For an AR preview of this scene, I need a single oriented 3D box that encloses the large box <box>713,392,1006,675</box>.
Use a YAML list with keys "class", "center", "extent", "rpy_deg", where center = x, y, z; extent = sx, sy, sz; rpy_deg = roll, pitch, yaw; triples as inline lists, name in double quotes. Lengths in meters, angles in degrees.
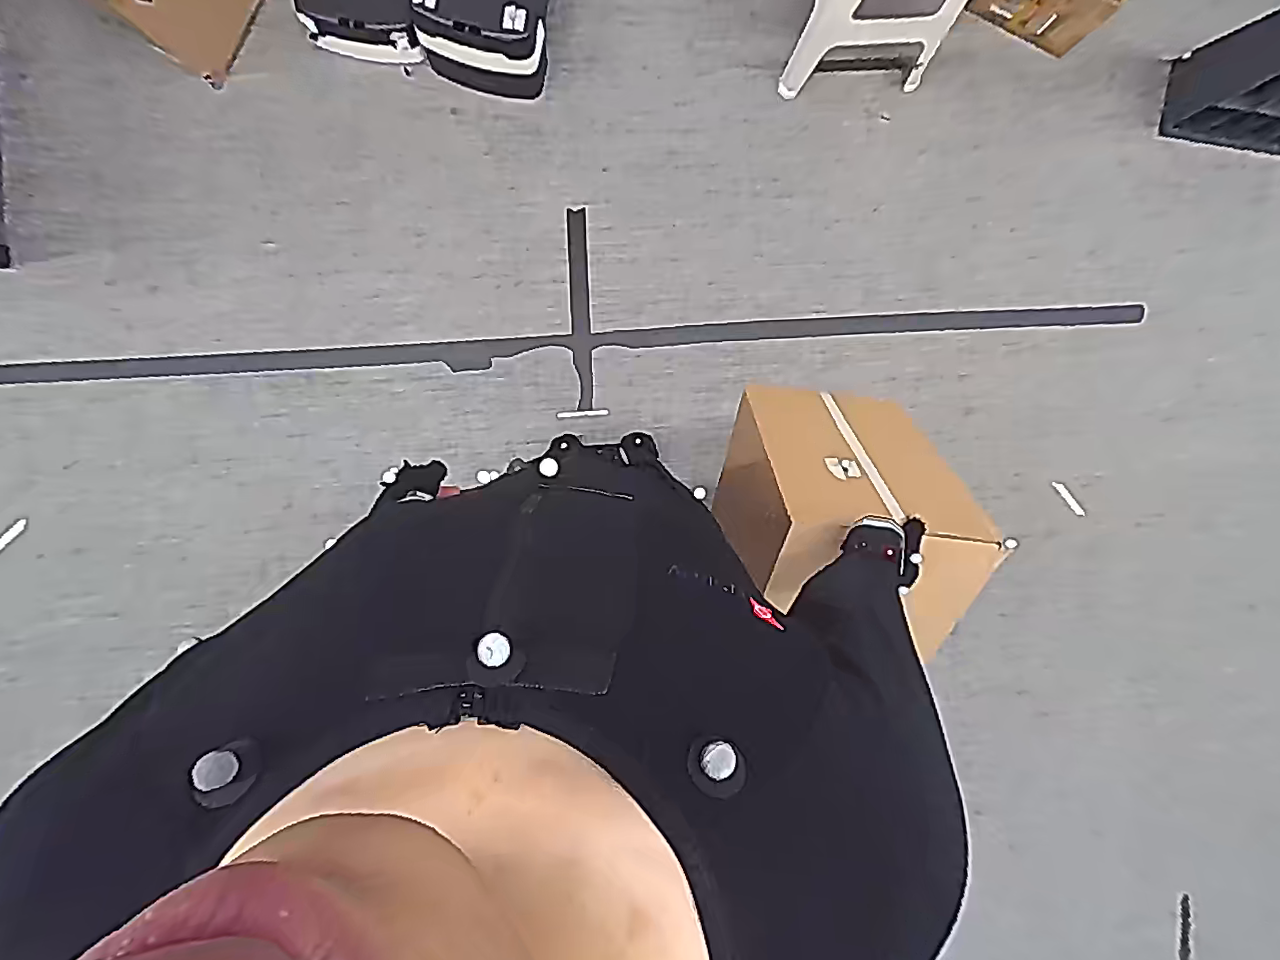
- class: "large box"
  center: [0.337, 0.084, 0.985]
  extent: [0.320, 0.408, 0.320]
  rpy_deg: [6, 127, -5]
